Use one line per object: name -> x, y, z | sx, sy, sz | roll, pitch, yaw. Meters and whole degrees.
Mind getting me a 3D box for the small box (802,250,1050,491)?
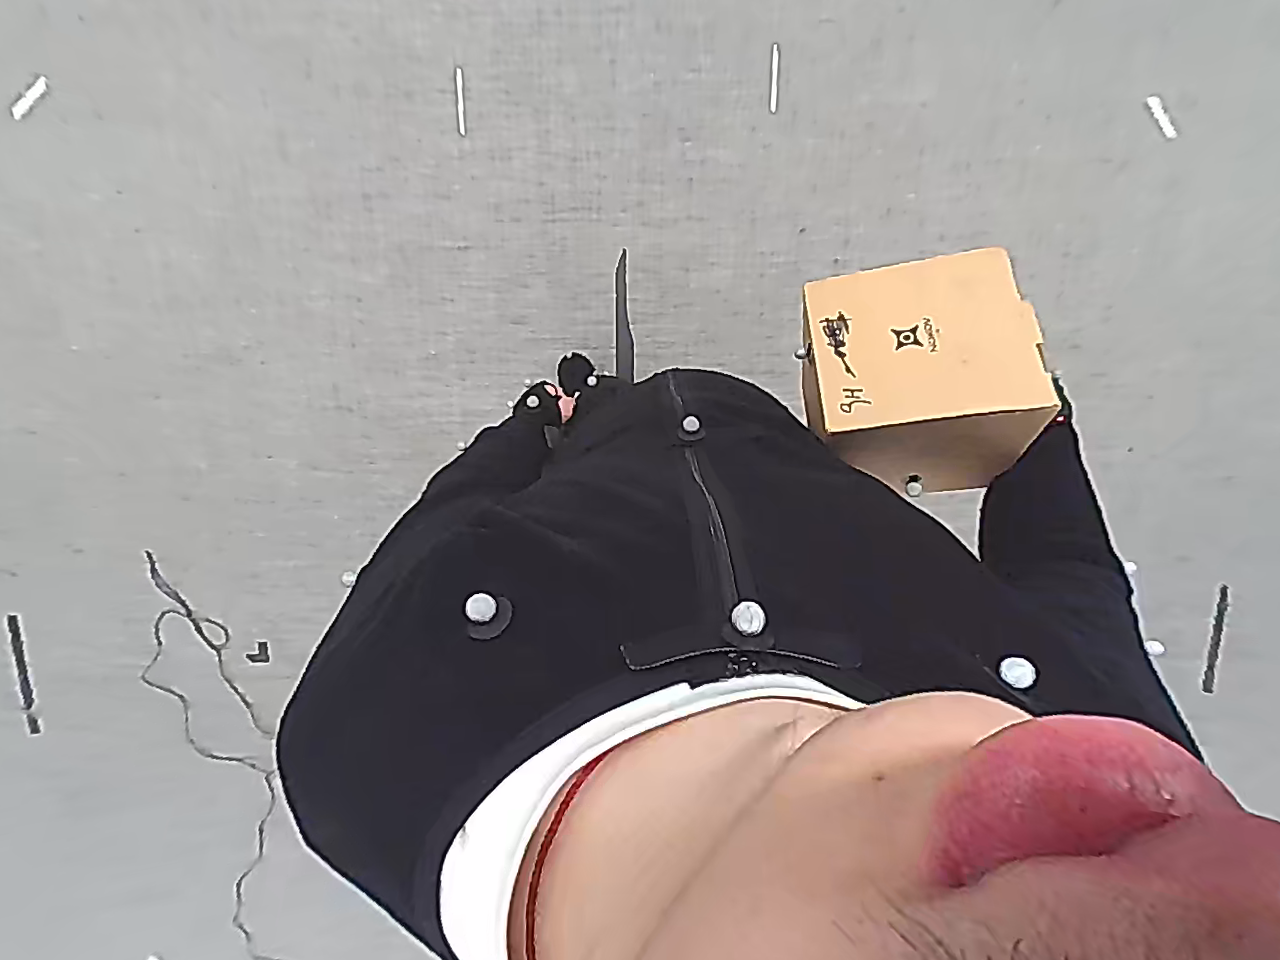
small box -> 0.266, -0.098, 0.554 | 0.179, 0.176, 0.168 | -6, 65, 13
